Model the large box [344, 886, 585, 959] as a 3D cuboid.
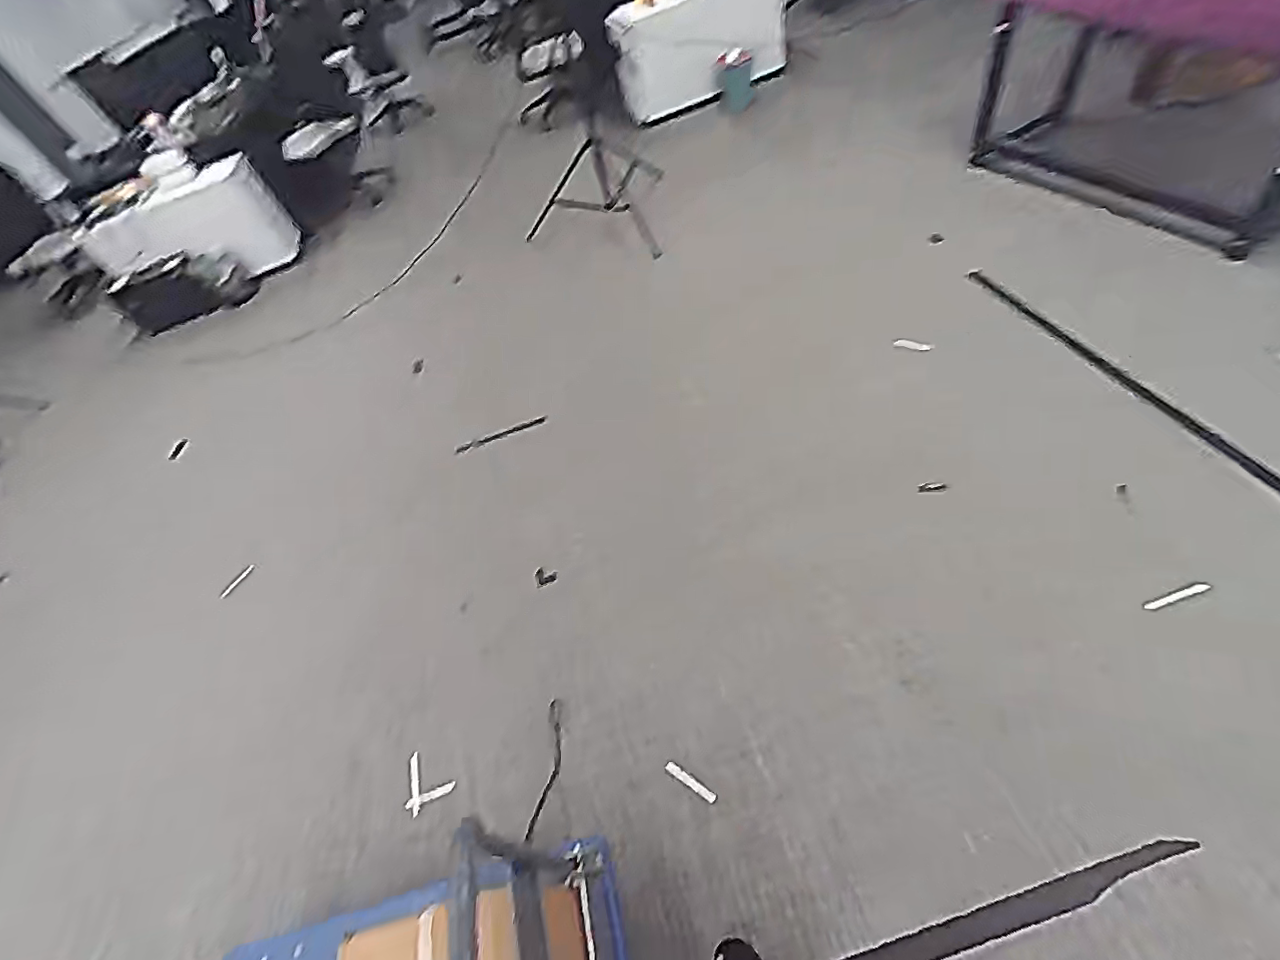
[{"bbox_3d":[-0.258,0.947,0.871,0.320,0.320,0.408,-19,50,0],"label":"large box"}]
